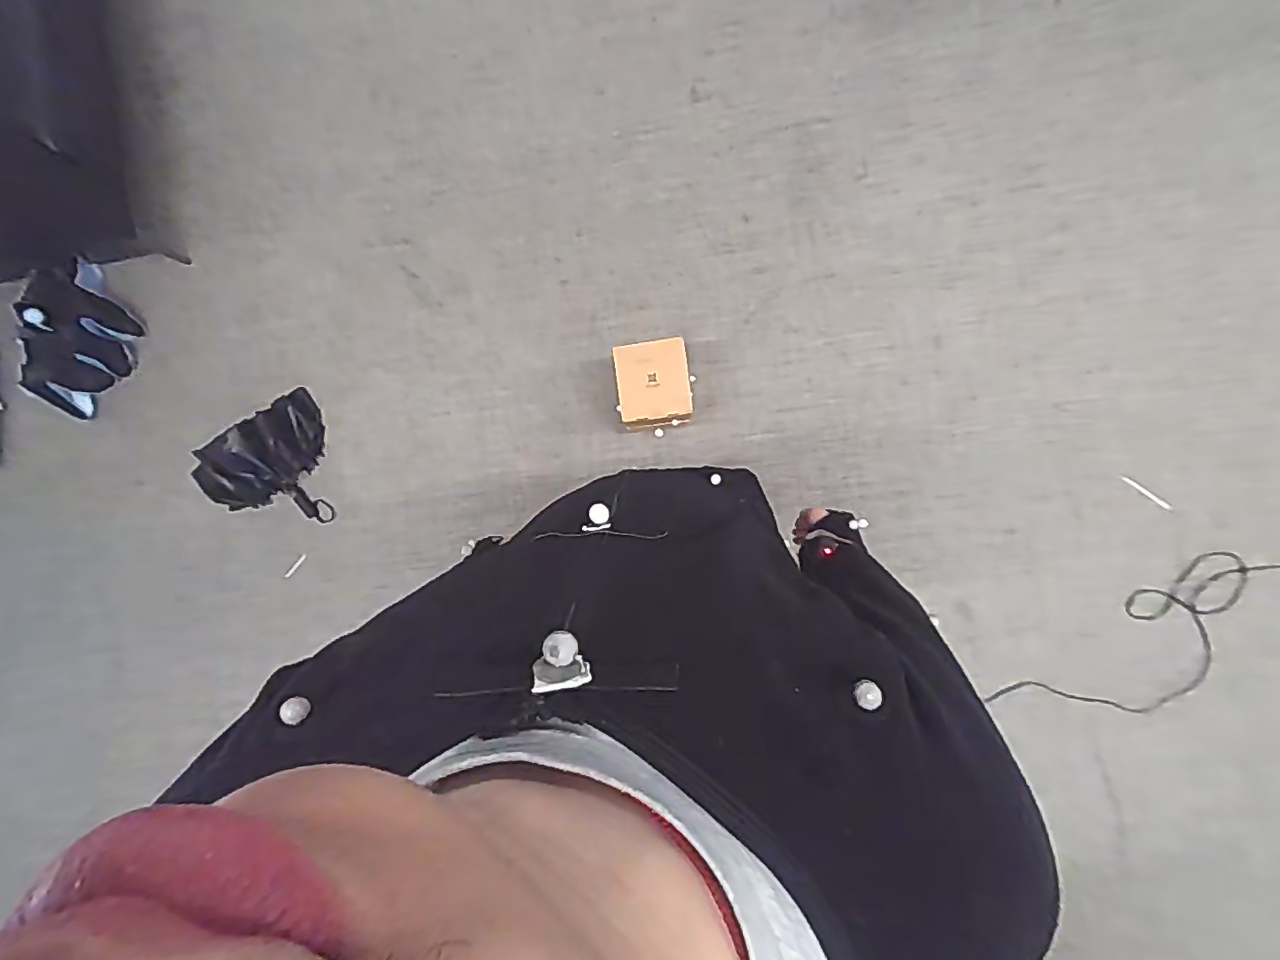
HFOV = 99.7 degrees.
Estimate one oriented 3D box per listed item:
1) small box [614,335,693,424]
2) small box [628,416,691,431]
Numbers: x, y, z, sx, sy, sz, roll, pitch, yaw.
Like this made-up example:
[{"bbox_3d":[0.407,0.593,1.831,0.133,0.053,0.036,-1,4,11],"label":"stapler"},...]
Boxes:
[{"bbox_3d":[0.038,-0.232,1.303,0.168,0.176,0.179,-7,89,5],"label":"small box"},{"bbox_3d":[0.050,-0.231,1.464,0.168,0.176,0.179,-6,91,6],"label":"small box"}]
